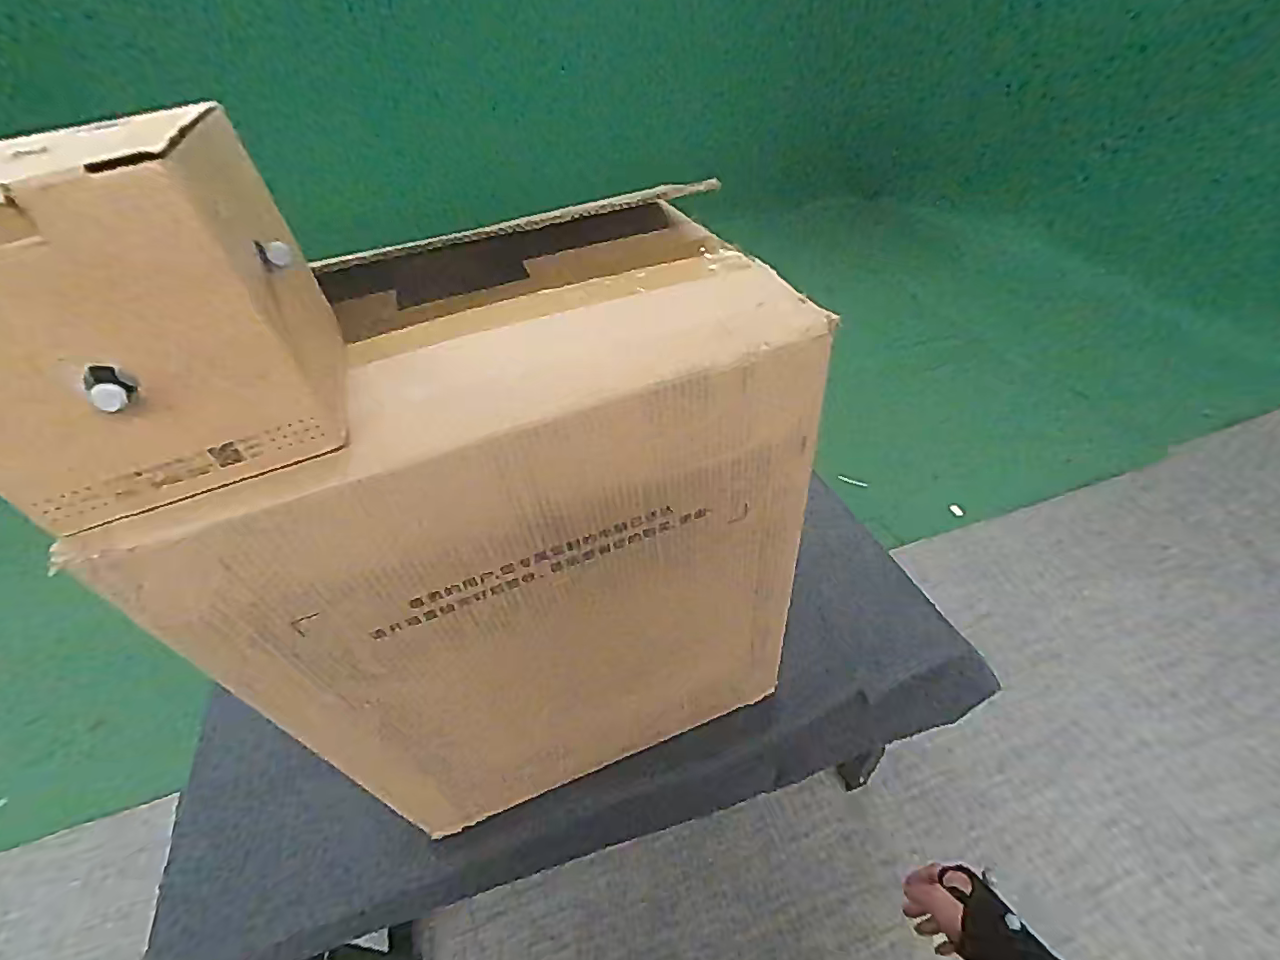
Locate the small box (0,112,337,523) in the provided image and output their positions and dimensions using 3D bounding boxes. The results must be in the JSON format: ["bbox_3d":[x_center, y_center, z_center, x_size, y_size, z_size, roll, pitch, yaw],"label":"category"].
[{"bbox_3d":[-0.310,-0.096,0.332,0.168,0.176,0.179,-21,46,-11],"label":"small box"}]
